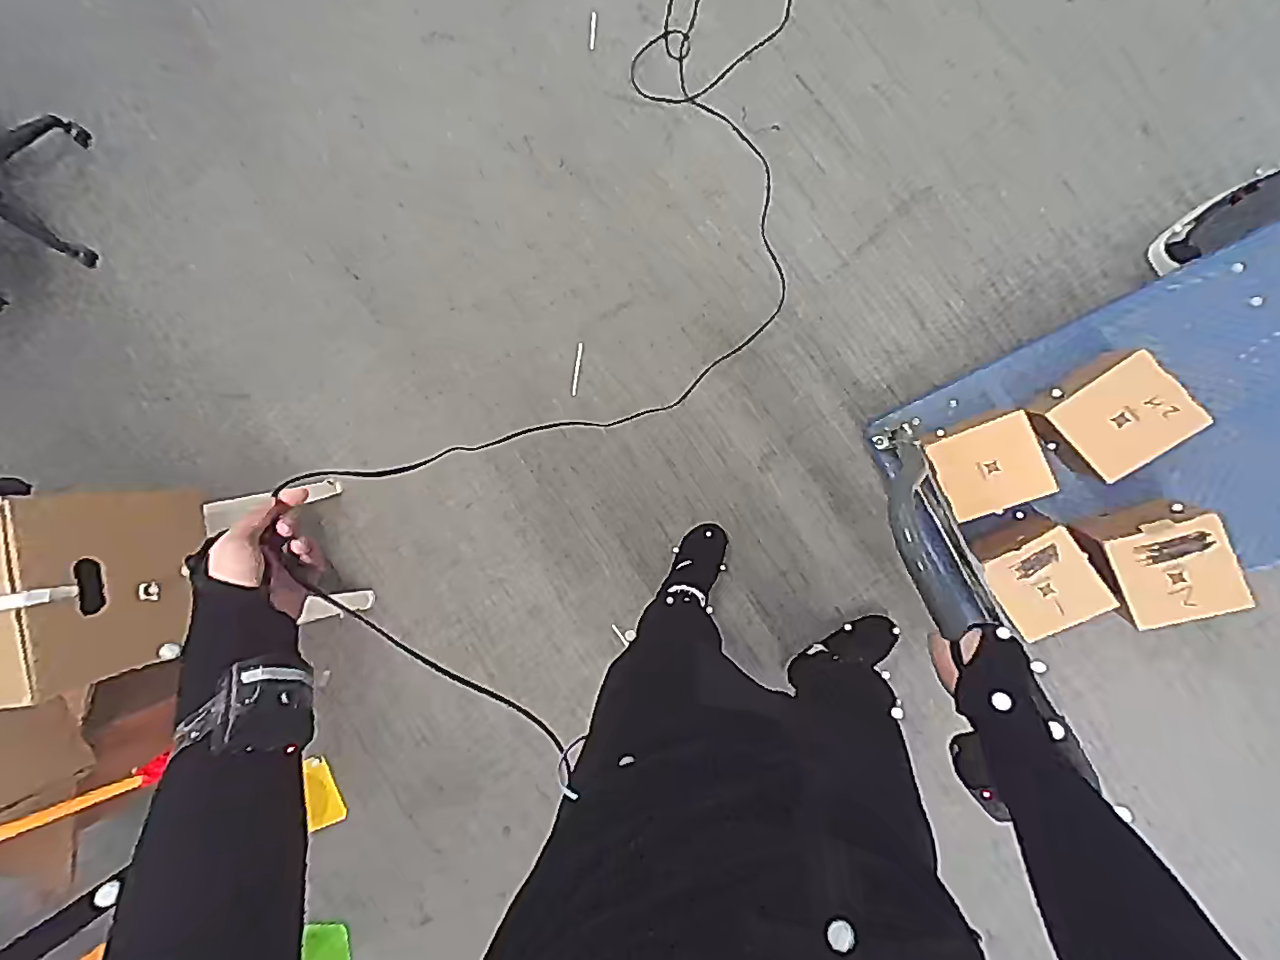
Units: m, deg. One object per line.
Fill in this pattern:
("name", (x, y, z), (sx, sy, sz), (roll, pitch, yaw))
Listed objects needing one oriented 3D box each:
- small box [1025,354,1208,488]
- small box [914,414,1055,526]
("small box", (0.859, -0.109, 1.004), (0.179, 0.176, 0.168), (-40, 84, 20))
("small box", (0.678, -0.027, 1.086), (0.179, 0.176, 0.168), (-23, 90, 22))
